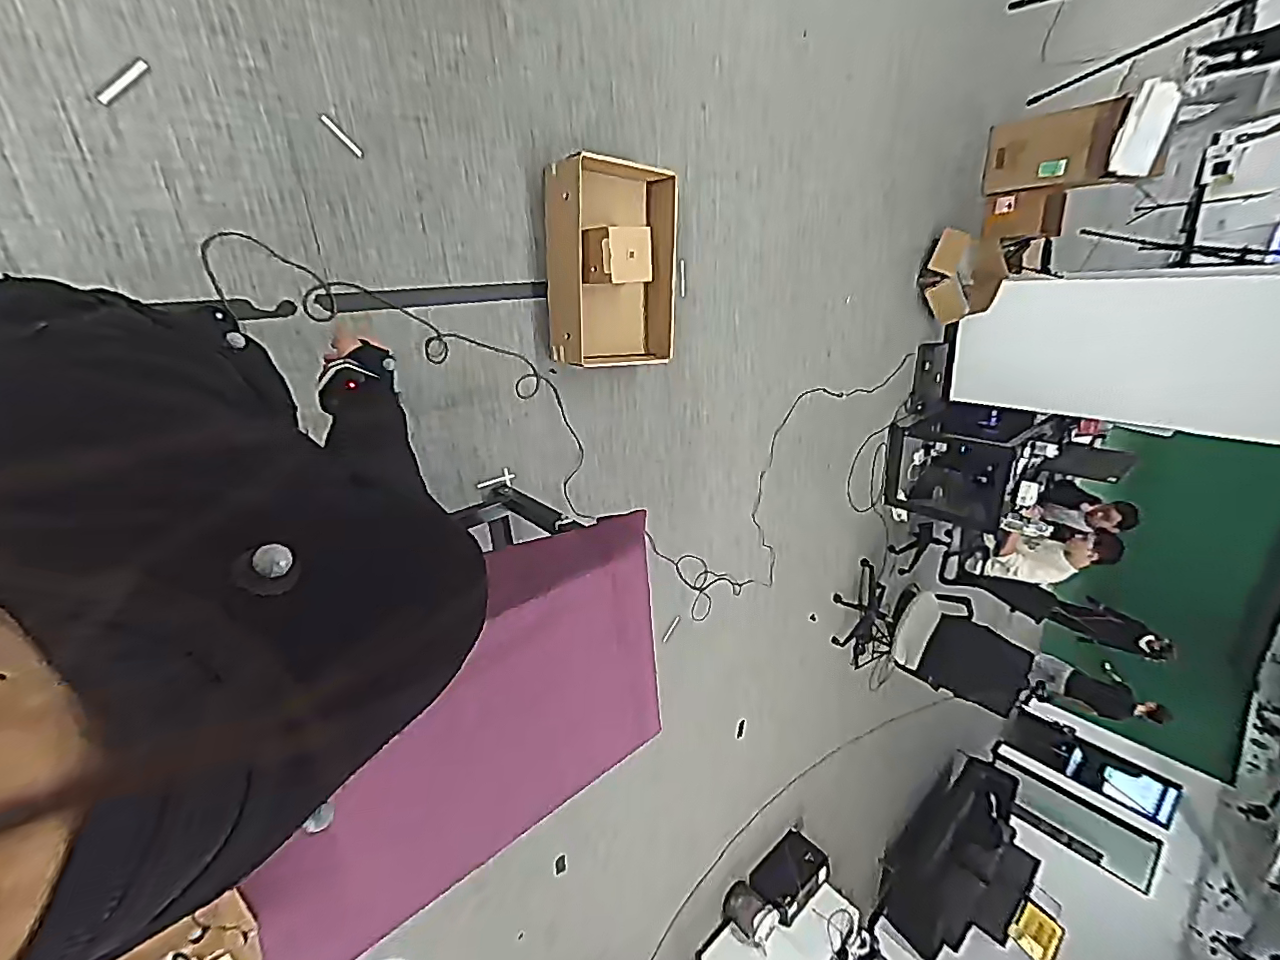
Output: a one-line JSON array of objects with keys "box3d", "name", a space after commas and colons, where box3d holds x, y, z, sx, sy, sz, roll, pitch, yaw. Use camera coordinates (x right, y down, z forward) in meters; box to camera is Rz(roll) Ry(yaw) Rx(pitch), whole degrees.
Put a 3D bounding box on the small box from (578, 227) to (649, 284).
[{"box3d": [-0.090, -0.732, 1.770, 0.179, 0.176, 0.168, -20, 118, -36], "name": "small box"}]
